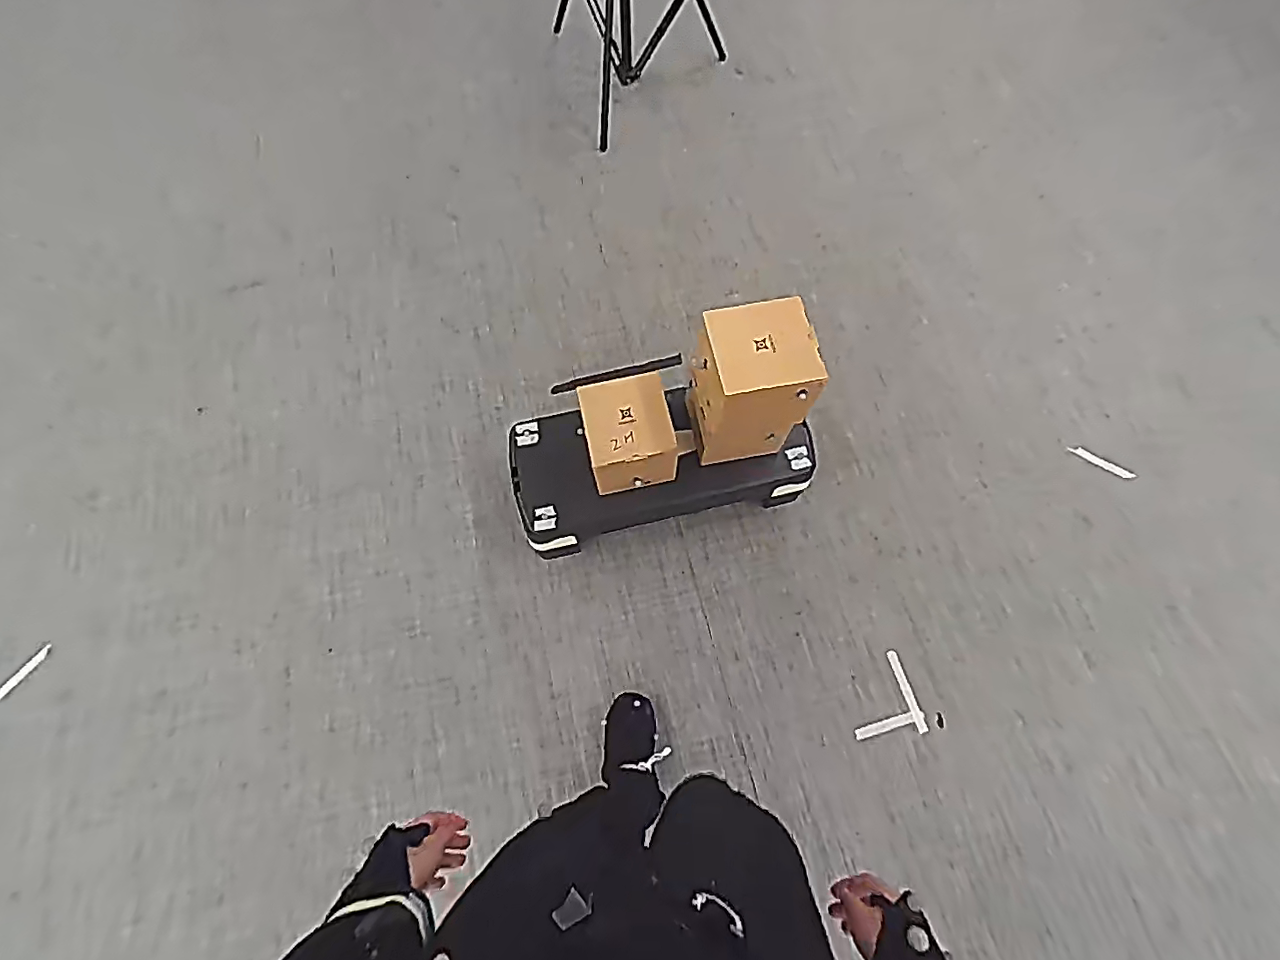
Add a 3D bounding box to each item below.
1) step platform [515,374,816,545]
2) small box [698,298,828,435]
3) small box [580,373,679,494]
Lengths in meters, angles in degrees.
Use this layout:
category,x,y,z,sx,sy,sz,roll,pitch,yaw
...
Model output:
category,x,y,z,sx,sy,sz,roll,pitch,yaw
step platform,0.056,-0.067,1.280,0.684,0.204,0.286,-14,70,-4
small box,0.205,-0.195,0.967,0.179,0.176,0.168,-10,71,-4
small box,-0.023,-0.090,1.105,0.168,0.176,0.179,-12,71,-3
